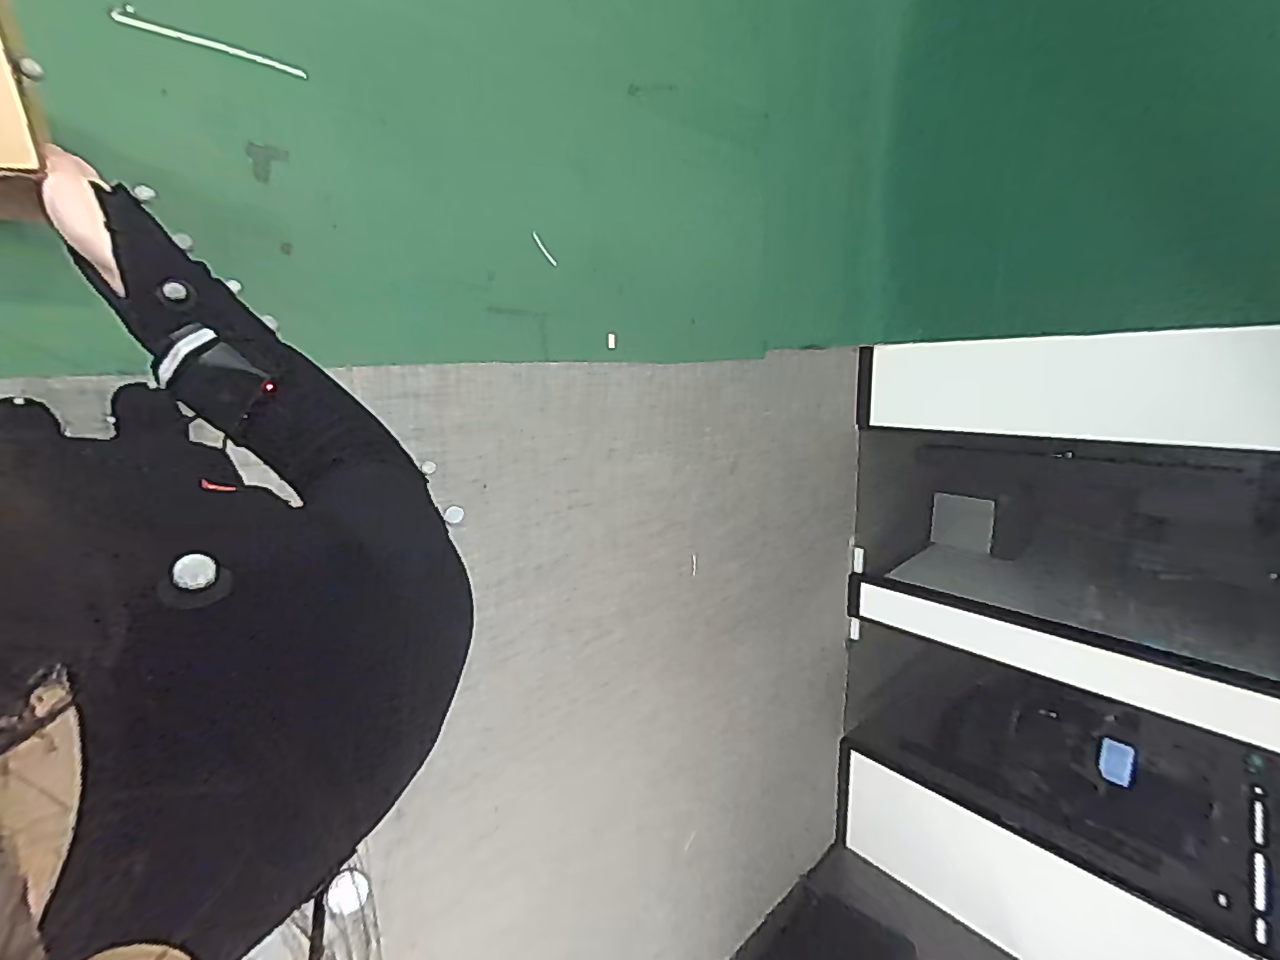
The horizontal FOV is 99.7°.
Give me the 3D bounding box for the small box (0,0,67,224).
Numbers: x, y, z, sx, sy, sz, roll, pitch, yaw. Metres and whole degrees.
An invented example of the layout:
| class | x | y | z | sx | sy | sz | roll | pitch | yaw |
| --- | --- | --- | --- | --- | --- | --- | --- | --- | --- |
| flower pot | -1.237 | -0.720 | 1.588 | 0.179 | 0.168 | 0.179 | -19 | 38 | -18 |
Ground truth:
| class | x | y | z | sx | sy | sz | roll | pitch | yaw |
| --- | --- | --- | --- | --- | --- | --- | --- | --- | --- |
| small box | -0.500 | -0.268 | 0.333 | 0.168 | 0.176 | 0.179 | -16 | 110 | -39 |
